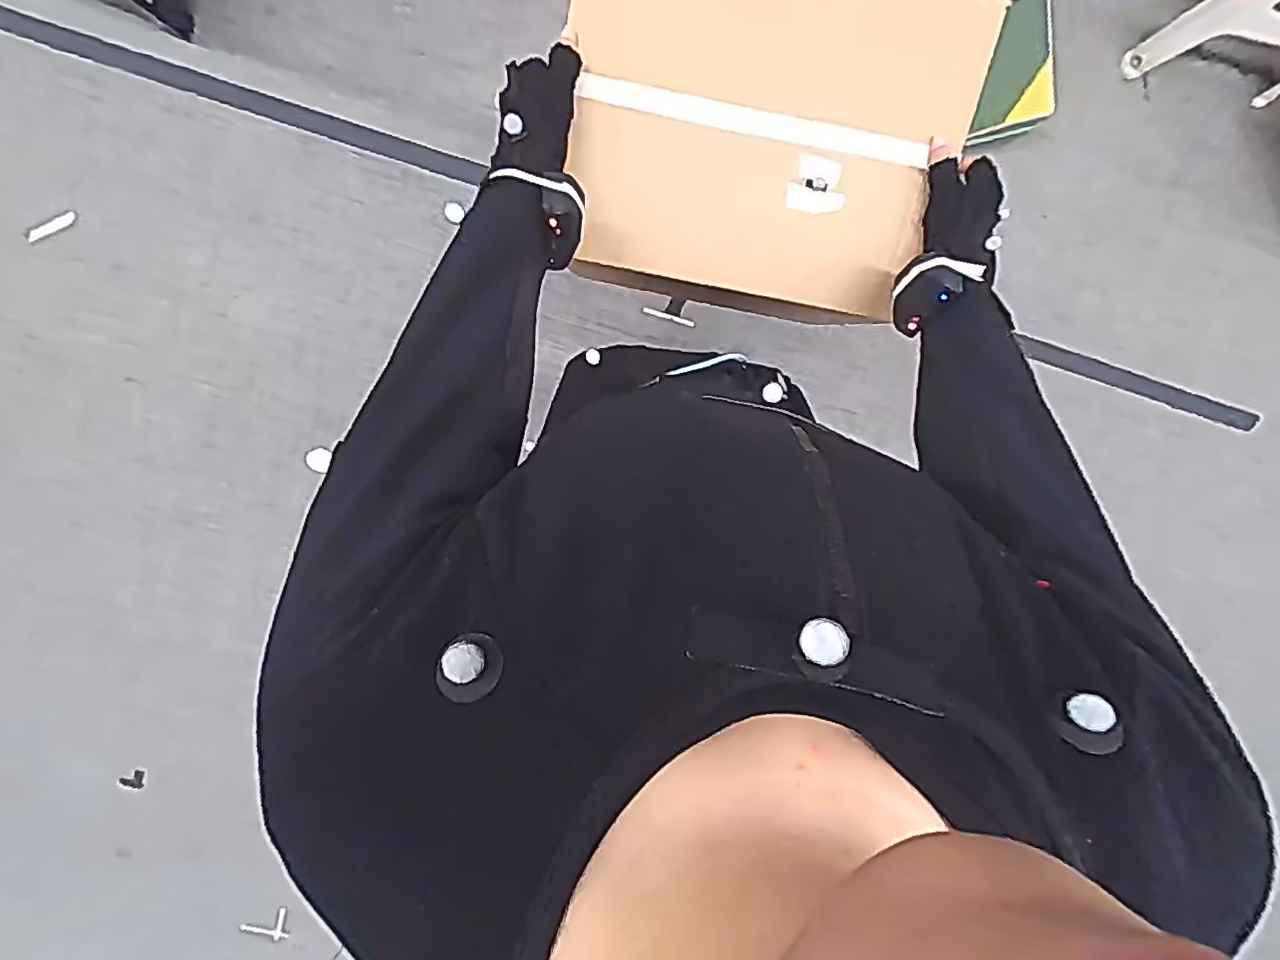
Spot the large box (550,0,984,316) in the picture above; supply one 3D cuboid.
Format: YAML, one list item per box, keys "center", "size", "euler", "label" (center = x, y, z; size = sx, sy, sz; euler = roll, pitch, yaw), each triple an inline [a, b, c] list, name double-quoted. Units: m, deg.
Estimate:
- center: [0.115, -0.402, 0.698]
  size: [0.408, 0.320, 0.320]
  euler: [9, 107, -4]
  label: "large box"
